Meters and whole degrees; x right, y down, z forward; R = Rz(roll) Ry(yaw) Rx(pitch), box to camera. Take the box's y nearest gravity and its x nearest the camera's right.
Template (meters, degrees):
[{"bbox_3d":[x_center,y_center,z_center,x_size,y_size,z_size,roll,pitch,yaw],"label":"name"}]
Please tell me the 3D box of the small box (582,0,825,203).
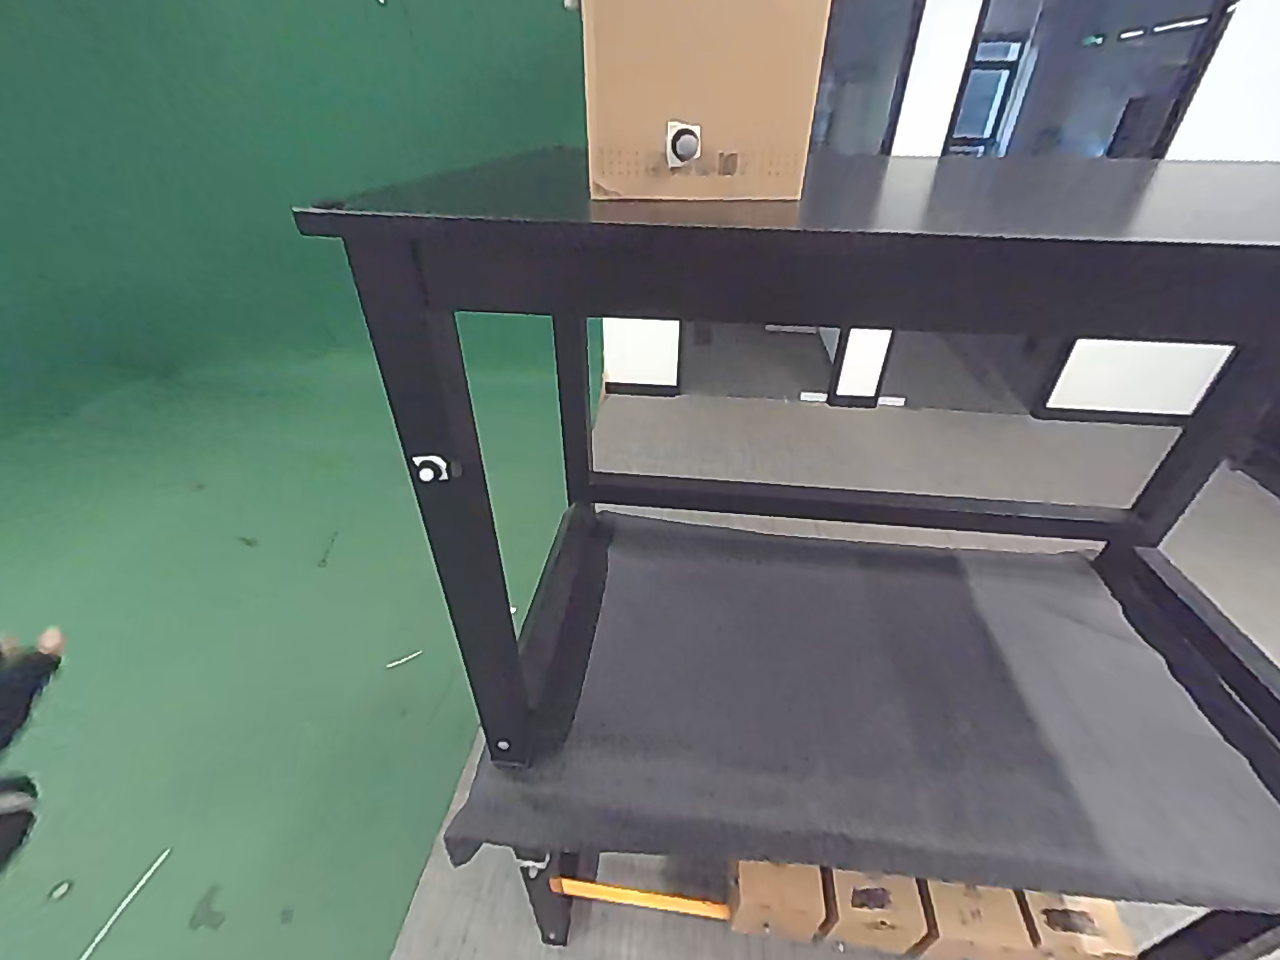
[{"bbox_3d":[0.037,-0.336,0.448,0.168,0.176,0.179,-3,35,-4],"label":"small box"}]
